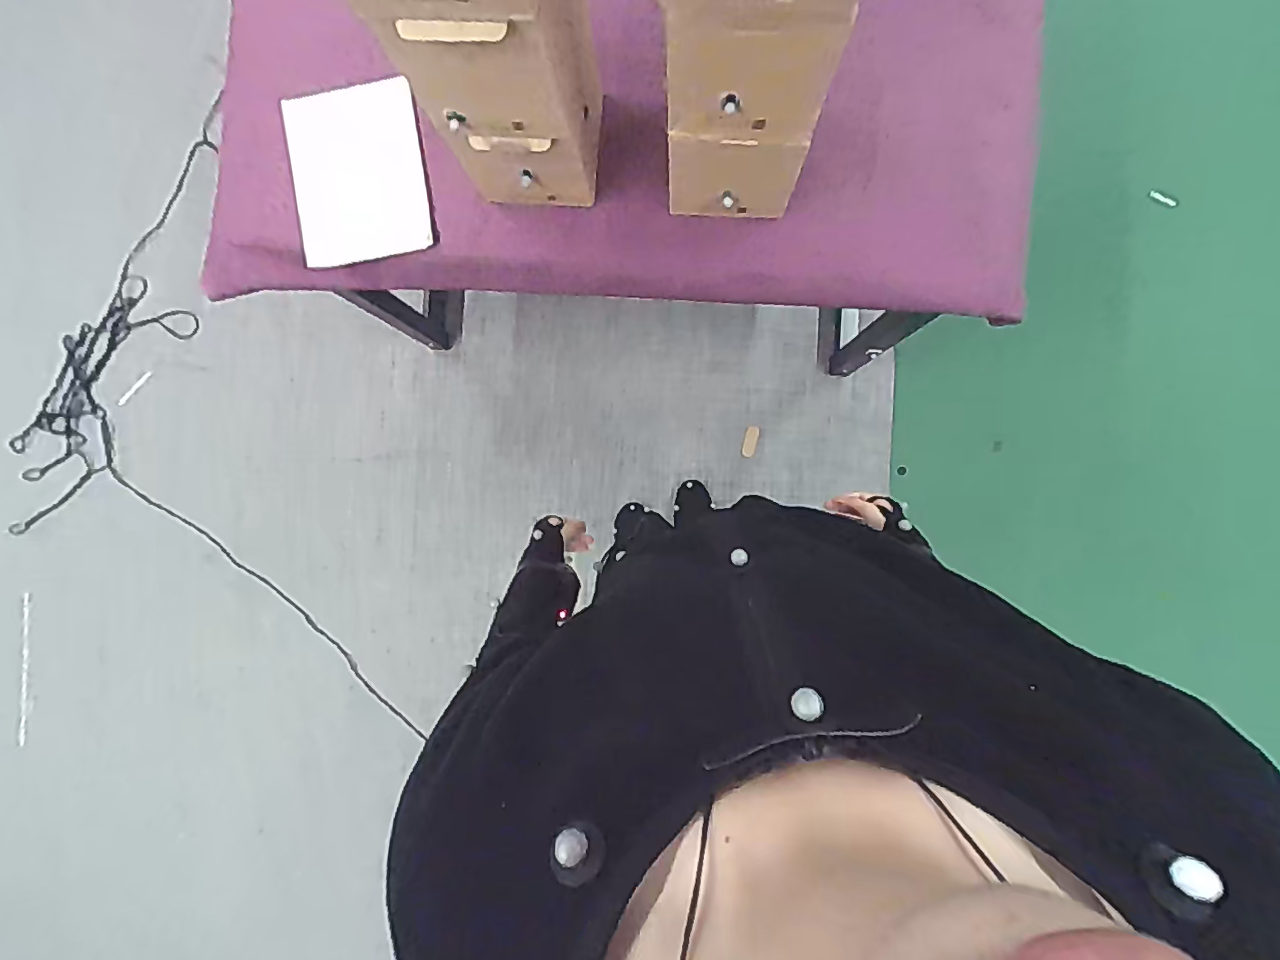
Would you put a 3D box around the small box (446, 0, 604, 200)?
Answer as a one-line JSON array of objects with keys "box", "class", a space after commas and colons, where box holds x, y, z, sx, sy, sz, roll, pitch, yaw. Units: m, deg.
[{"box": [-0.144, -0.505, 0.731, 0.168, 0.176, 0.179, 5, 90, 3], "class": "small box"}]

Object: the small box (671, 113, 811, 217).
[{"box": [0.130, -0.479, 0.713, 0.168, 0.176, 0.179, 5, 88, 5], "class": "small box"}]

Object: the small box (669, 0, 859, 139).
[{"box": [0.119, -0.490, 0.551, 0.168, 0.176, 0.179, 5, 89, 3], "class": "small box"}]

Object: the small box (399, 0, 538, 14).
[{"box": [-0.163, -0.502, 0.404, 0.168, 0.176, 0.179, 6, 89, 3], "class": "small box"}]

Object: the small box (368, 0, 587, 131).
[{"box": [-0.154, -0.503, 0.566, 0.168, 0.176, 0.179, 5, 88, 3], "class": "small box"}]
